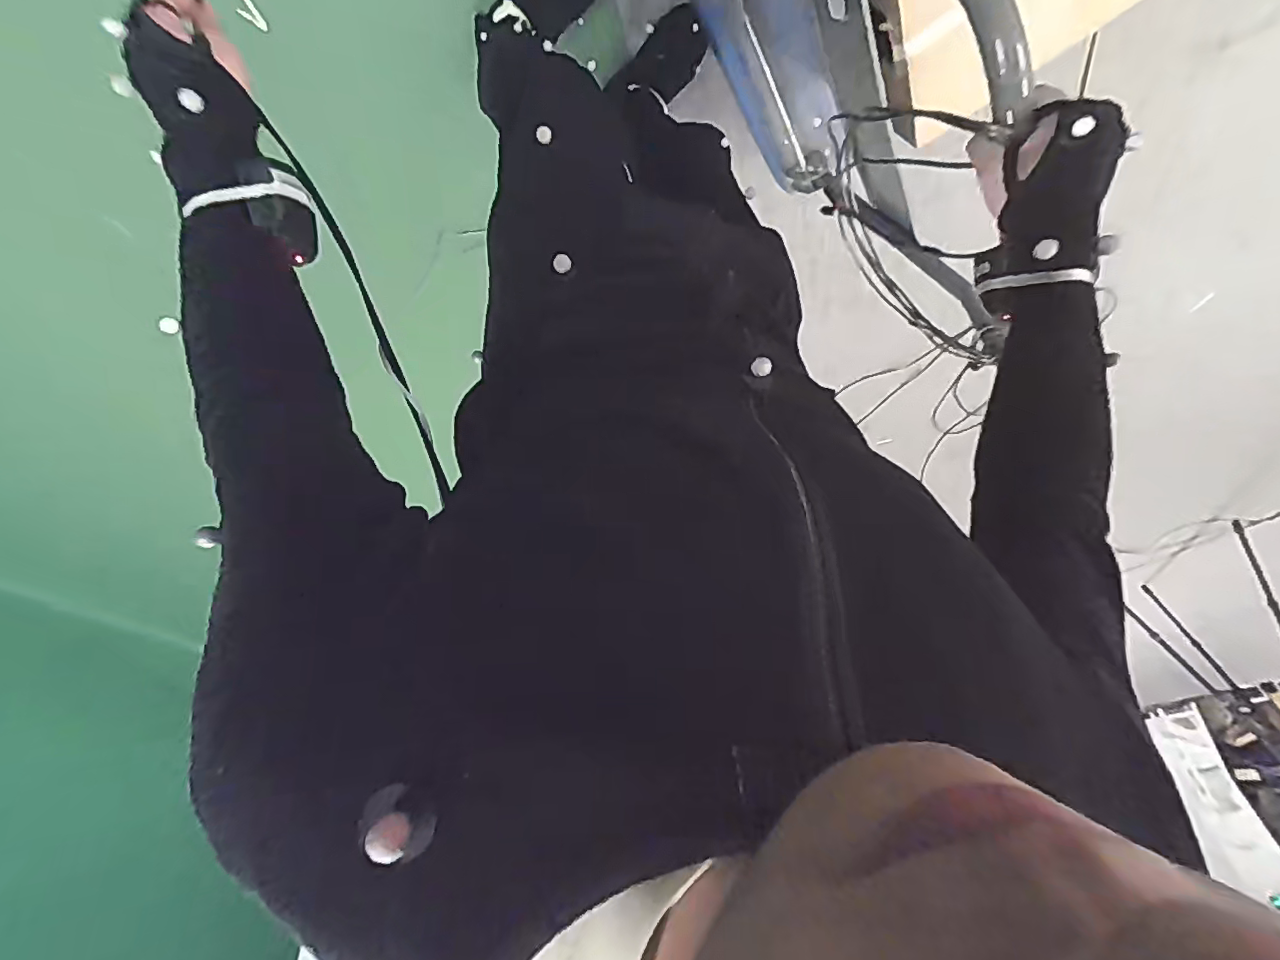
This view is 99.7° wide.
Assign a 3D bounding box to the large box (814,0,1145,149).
[{"bbox_3d":[0.481,-0.774,0.744,0.408,0.320,0.320,-31,142,16],"label":"large box"}]
